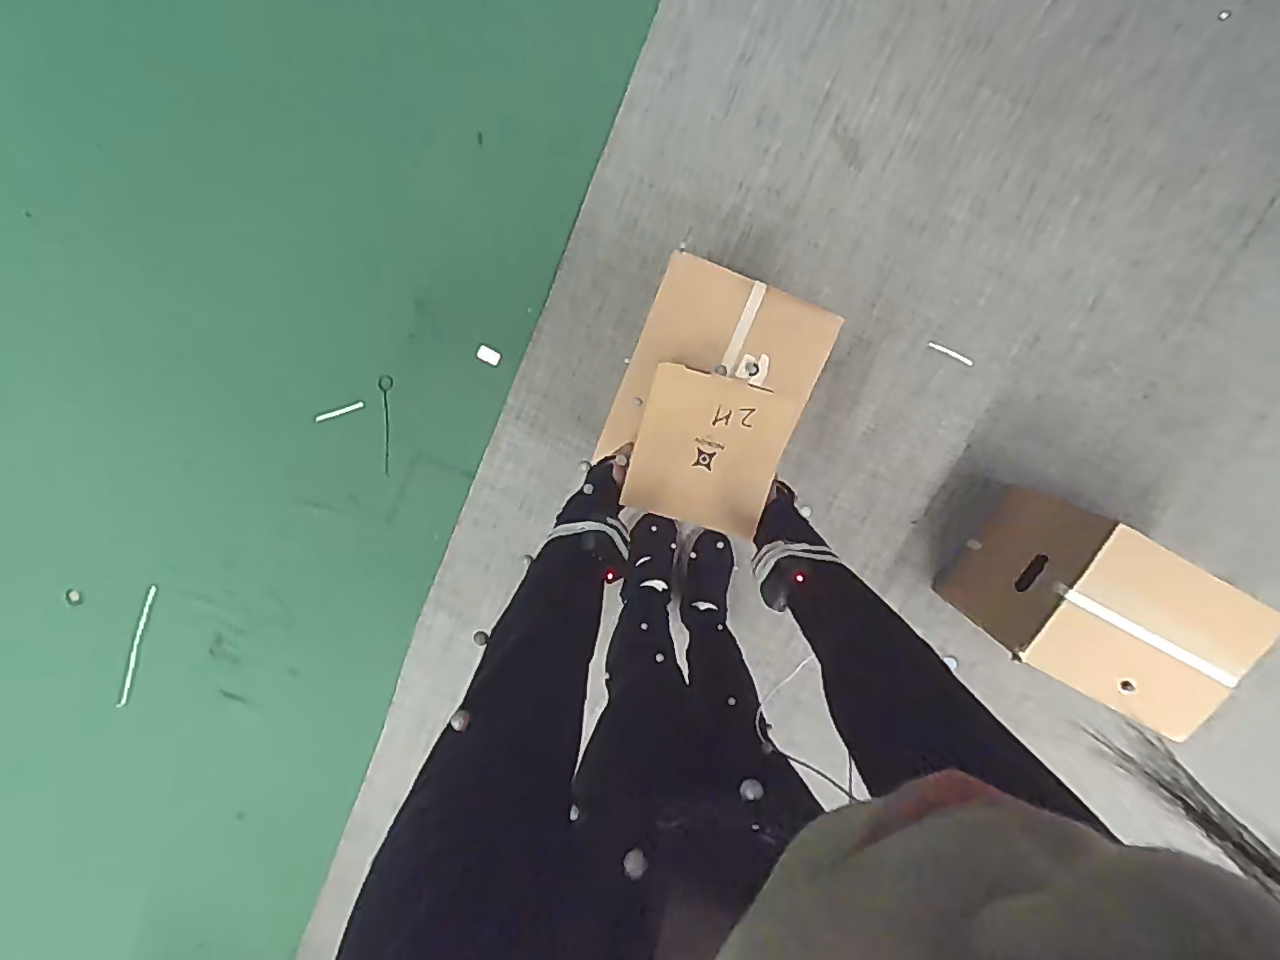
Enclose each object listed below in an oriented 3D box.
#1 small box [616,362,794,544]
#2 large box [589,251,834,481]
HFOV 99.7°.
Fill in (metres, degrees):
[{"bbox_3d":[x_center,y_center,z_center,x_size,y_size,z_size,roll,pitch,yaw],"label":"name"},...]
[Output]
[{"bbox_3d":[0.074,-0.042,0.697,0.168,0.176,0.179,16,100,-3],"label":"small box"},{"bbox_3d":[0.122,-0.173,1.088,0.320,0.320,0.408,22,100,-4],"label":"large box"}]
